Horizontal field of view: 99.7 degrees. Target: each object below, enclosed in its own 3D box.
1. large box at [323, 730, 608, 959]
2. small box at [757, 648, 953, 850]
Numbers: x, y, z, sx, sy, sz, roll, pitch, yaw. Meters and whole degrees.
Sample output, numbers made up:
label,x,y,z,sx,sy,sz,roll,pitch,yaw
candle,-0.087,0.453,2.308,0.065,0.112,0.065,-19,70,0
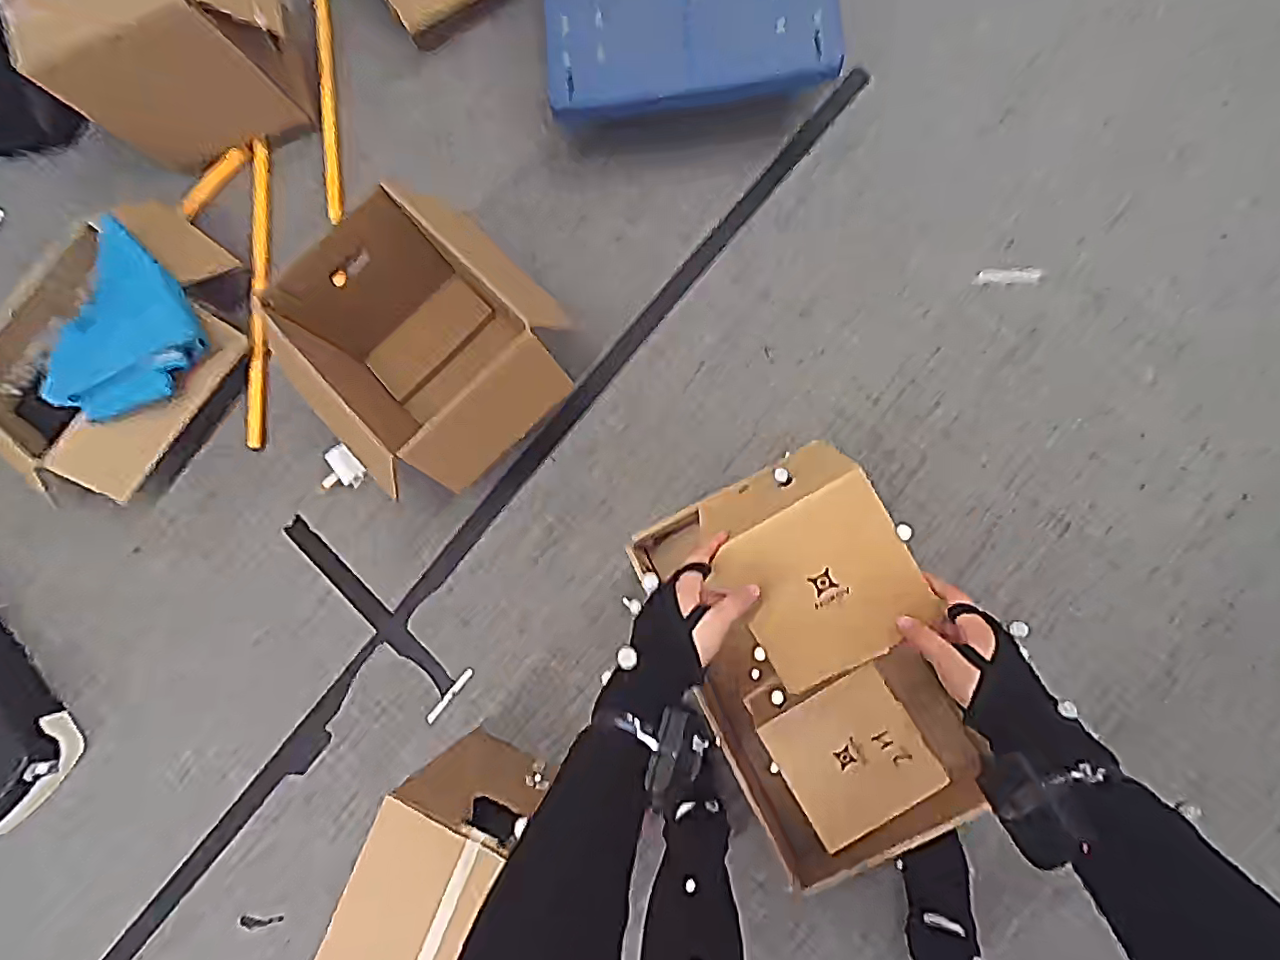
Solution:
label,x,y,z,sx,sy,sz,roll,pitch,yaw
large box,-0.282,0.717,0.911,0.320,0.320,0.408,21,86,10
small box,0.275,0.352,0.745,0.179,0.176,0.168,-32,78,1
